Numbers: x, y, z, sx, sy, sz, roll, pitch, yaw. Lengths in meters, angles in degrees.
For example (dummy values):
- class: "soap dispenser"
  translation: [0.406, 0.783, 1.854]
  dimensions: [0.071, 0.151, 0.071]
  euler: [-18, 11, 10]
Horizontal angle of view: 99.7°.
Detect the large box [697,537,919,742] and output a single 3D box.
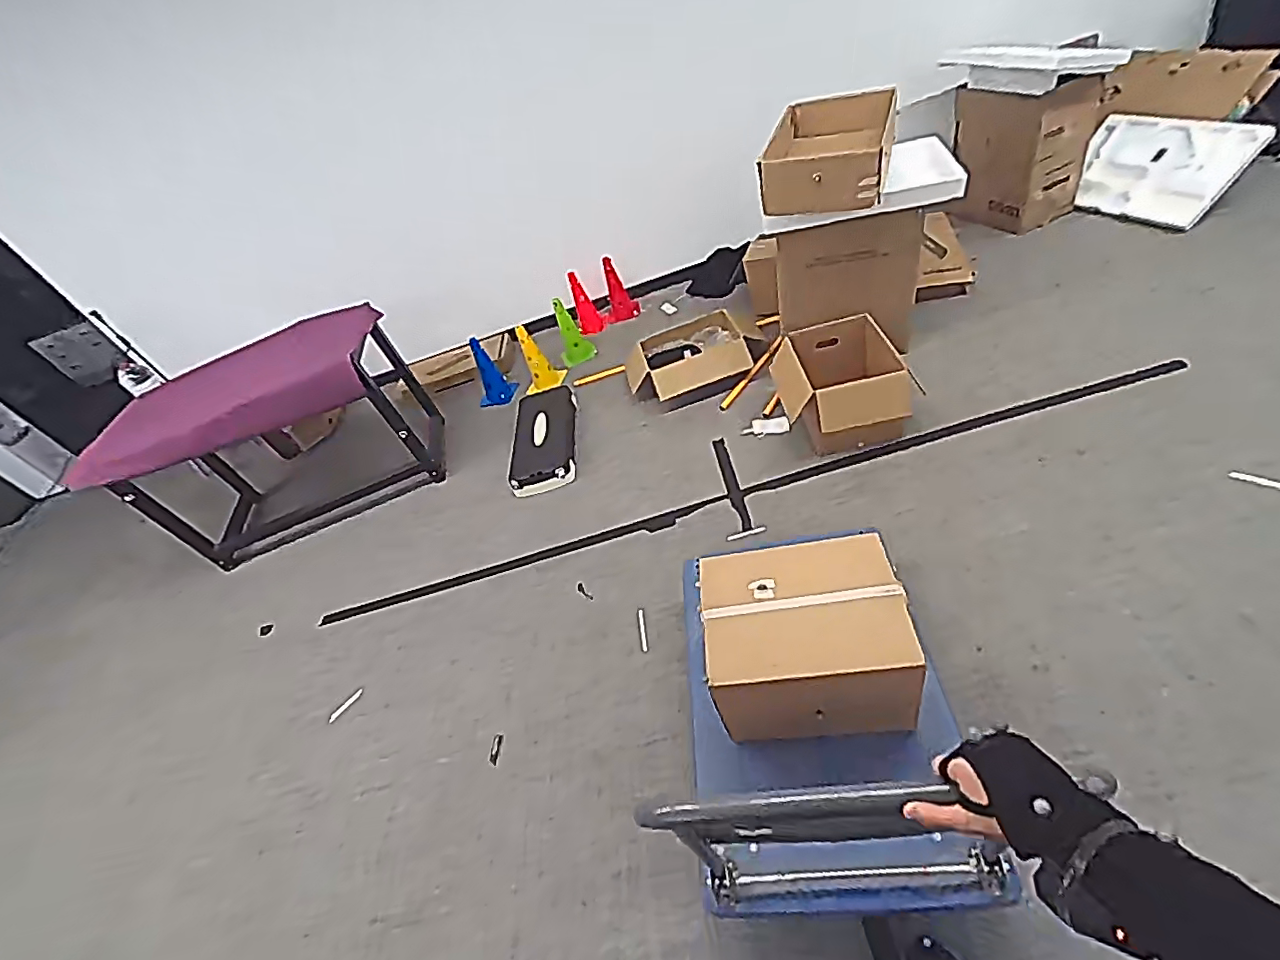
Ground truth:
- class: "large box"
  translation: [0.371, 0.375, 1.242]
  dimensions: [0.408, 0.320, 0.320]
  euler: [-12, 42, 12]
